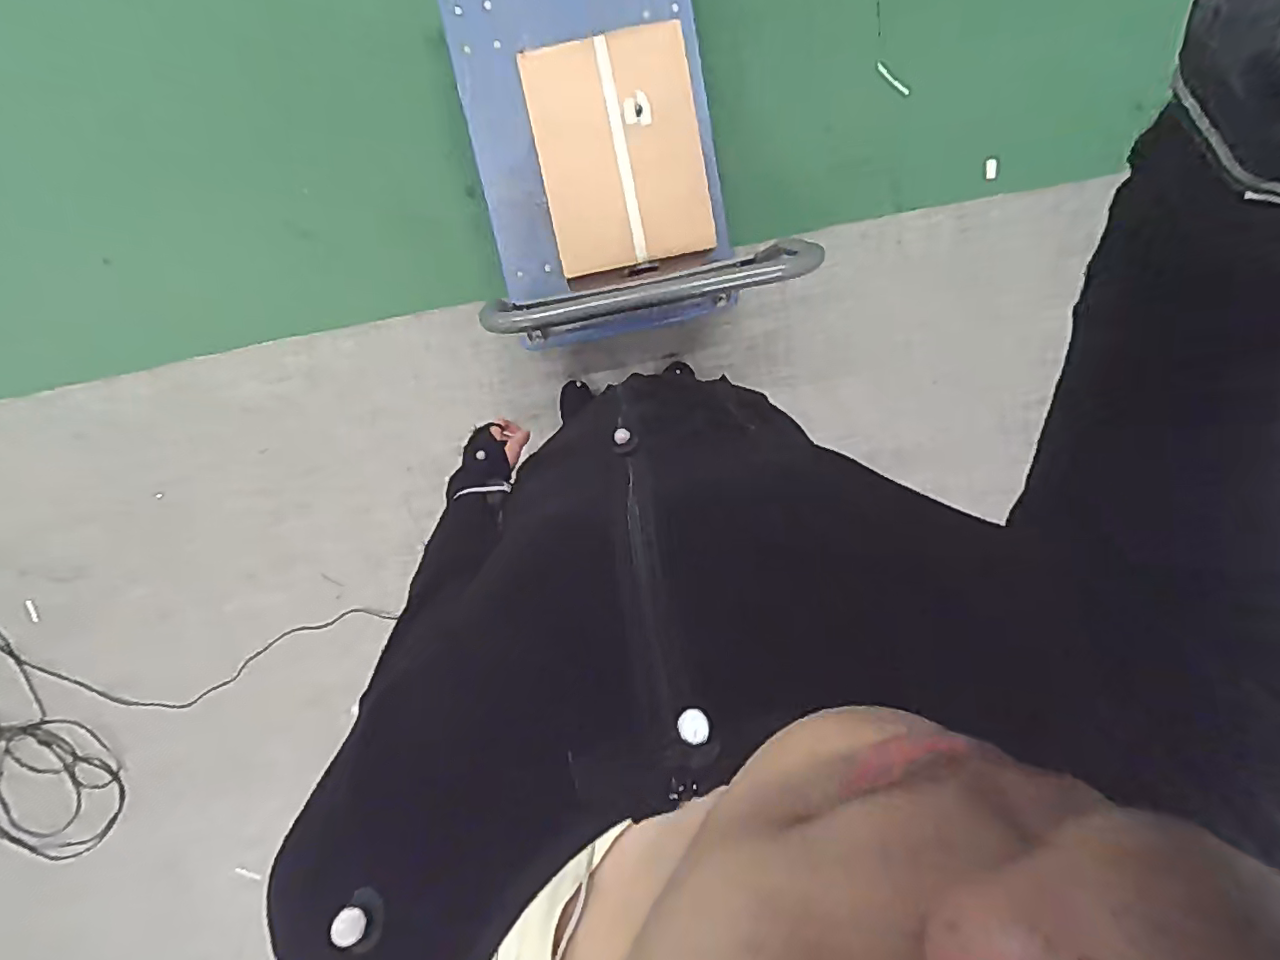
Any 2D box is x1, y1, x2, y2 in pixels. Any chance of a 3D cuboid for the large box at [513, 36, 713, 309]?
[{"bbox_3d":[-0.053,-0.632,1.190,0.320,0.320,0.408,-13,99,-2],"label":"large box"}]
